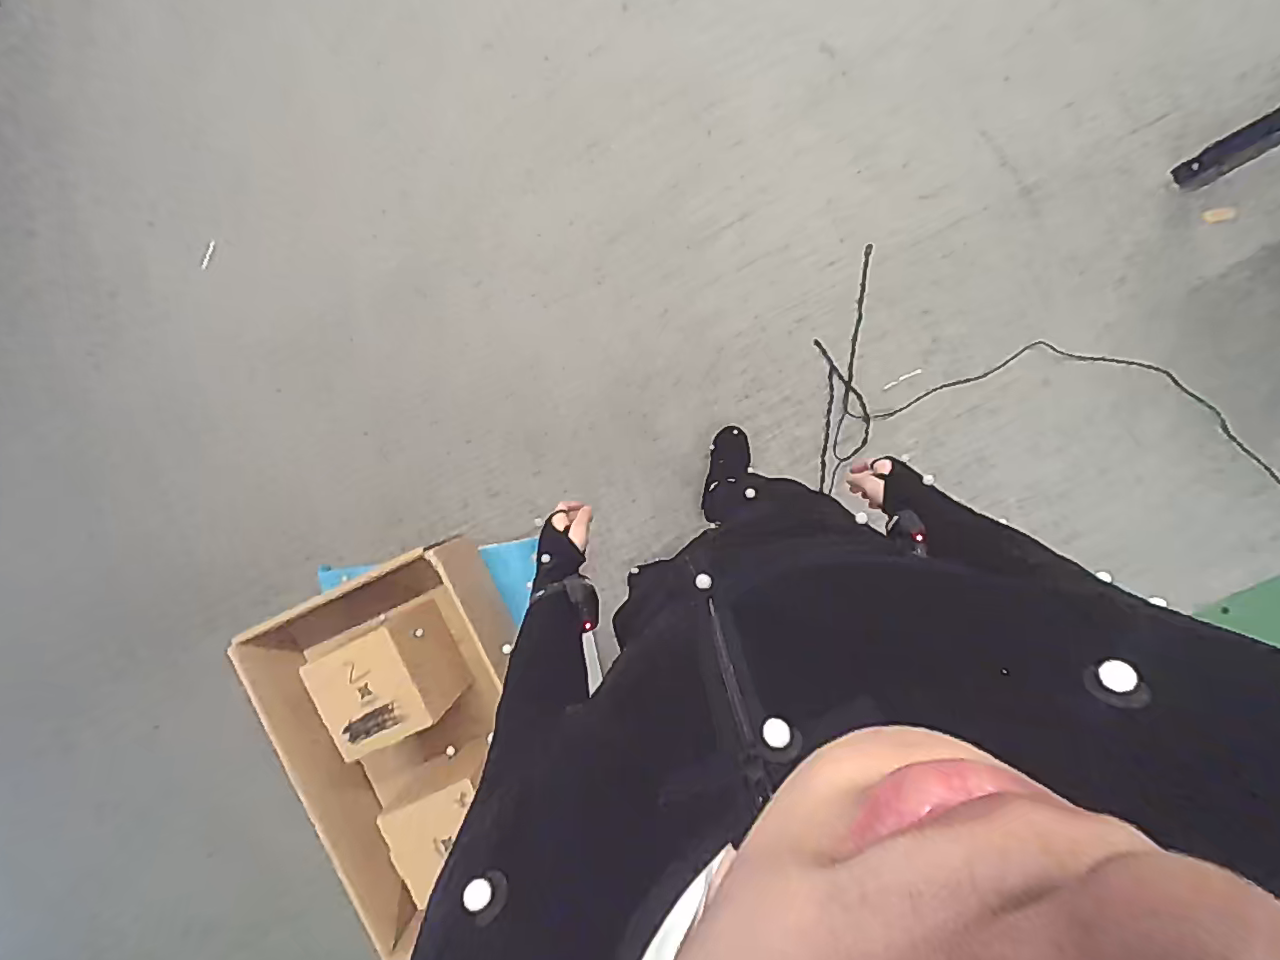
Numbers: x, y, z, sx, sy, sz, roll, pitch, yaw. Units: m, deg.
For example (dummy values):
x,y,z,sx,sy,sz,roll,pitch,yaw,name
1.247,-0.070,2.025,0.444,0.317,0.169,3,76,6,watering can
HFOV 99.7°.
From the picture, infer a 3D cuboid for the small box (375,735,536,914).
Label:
x,y,z,sx,sy,sz,roll,pitch,yaw,name
-0.307,0.580,0.933,0.179,0.176,0.168,-26,90,6,small box
